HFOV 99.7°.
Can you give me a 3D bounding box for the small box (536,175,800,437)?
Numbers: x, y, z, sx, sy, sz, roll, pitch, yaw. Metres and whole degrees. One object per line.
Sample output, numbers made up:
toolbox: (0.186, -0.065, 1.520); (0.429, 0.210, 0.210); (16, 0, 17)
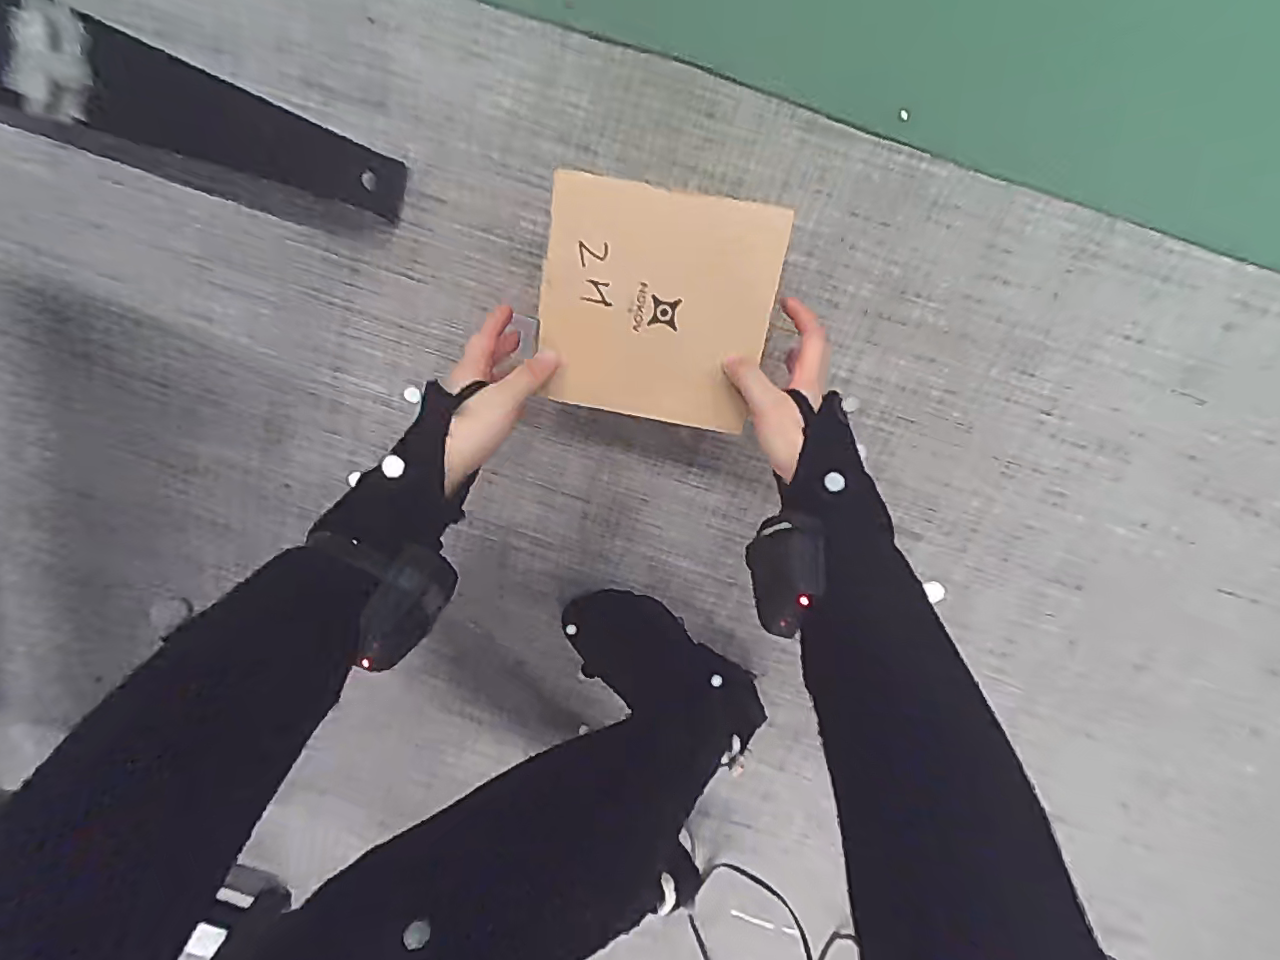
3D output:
small box: (0.022, -0.150, 0.482); (0.179, 0.176, 0.168); (11, 108, 2)
